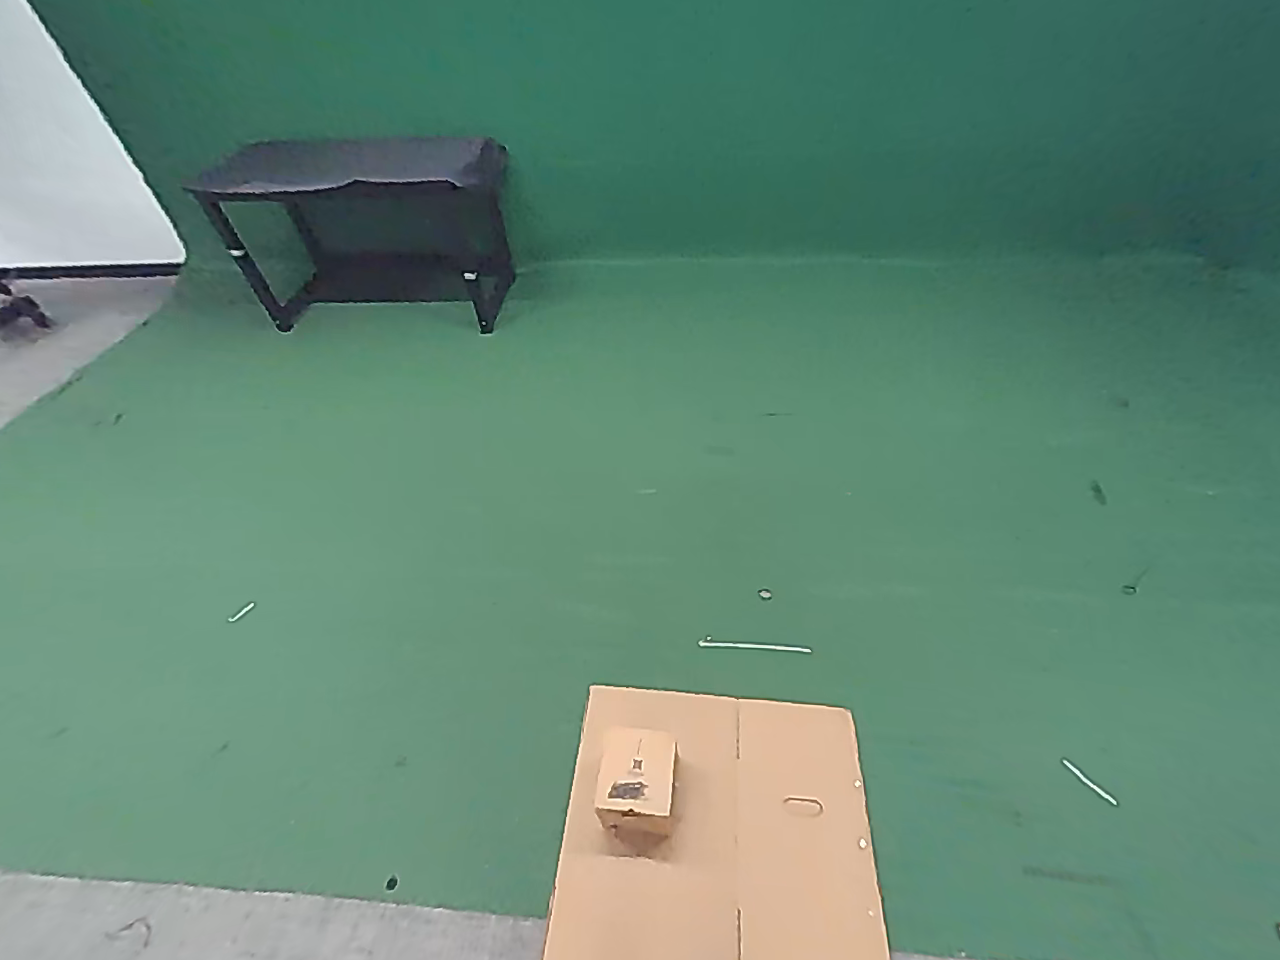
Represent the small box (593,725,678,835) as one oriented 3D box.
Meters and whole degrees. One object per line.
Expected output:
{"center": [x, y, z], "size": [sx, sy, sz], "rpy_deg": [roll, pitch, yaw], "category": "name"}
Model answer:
{"center": [-0.001, 0.694, 1.245], "size": [0.168, 0.176, 0.179], "rpy_deg": [3, 45, 8], "category": "small box"}
